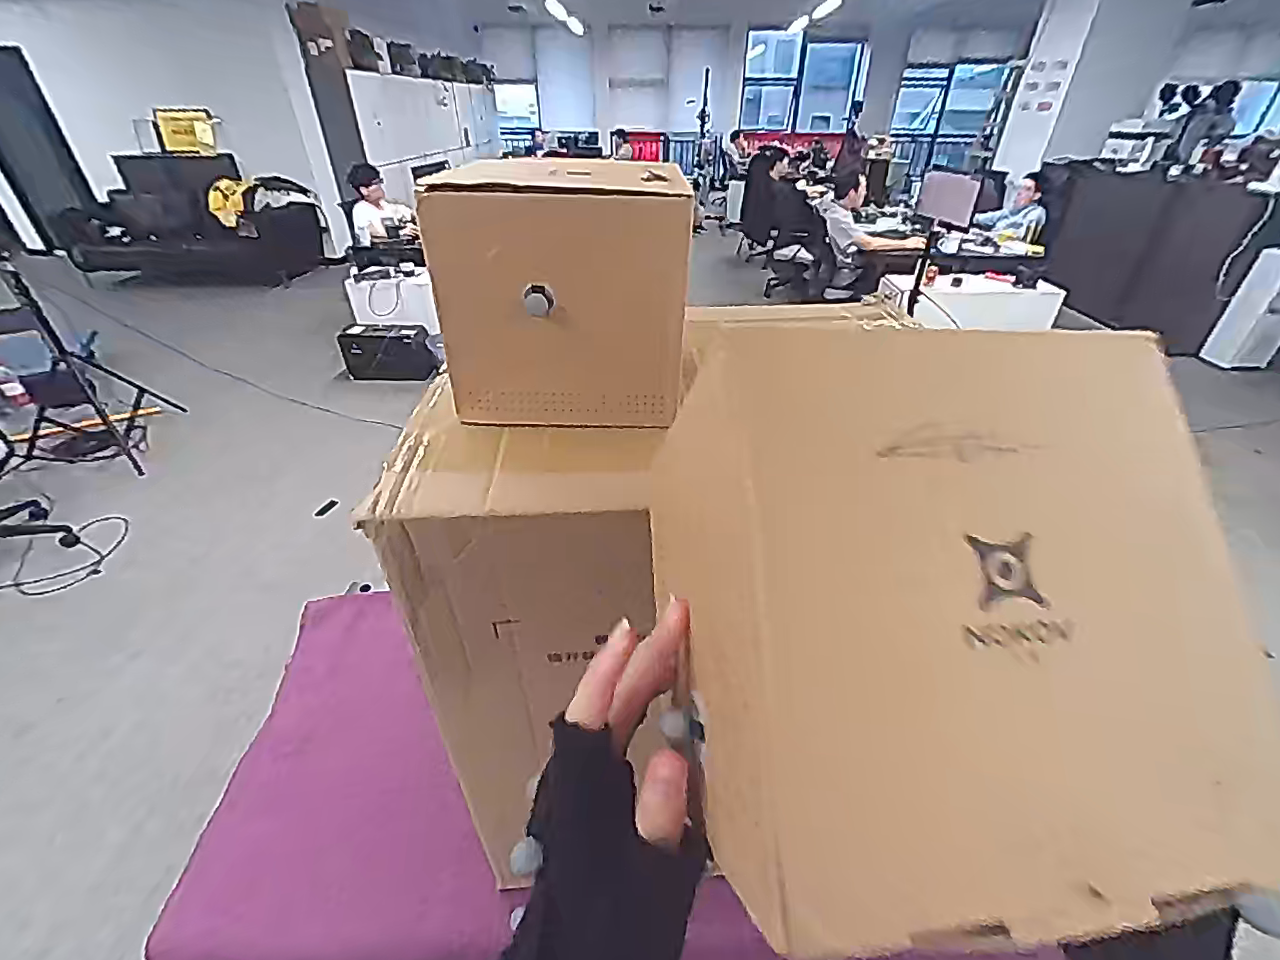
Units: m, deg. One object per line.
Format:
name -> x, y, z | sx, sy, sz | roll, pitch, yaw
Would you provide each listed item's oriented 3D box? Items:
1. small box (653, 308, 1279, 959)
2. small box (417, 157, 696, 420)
small box -> 0.102, 0.050, 0.233 | 0.168, 0.176, 0.179 | -1, 73, -9
small box -> -0.051, -0.159, 0.441 | 0.179, 0.176, 0.168 | 0, 35, -1
